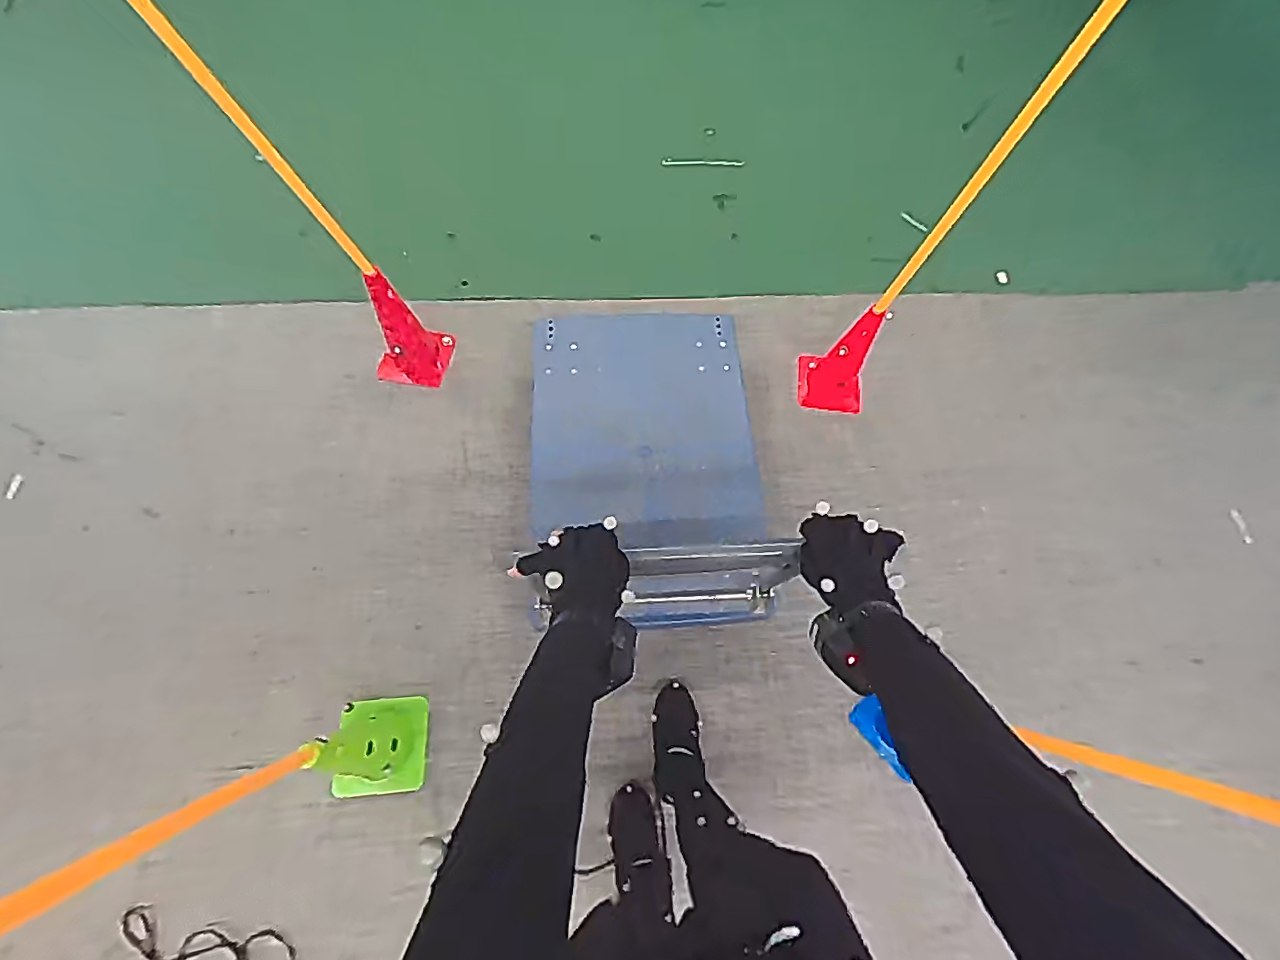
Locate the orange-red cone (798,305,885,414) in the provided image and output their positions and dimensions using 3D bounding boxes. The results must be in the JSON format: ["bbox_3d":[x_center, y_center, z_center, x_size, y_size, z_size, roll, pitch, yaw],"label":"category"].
[{"bbox_3d":[0.609,-0.368,1.558,0.198,0.360,0.199,8,67,1],"label":"orange-red cone"}]
